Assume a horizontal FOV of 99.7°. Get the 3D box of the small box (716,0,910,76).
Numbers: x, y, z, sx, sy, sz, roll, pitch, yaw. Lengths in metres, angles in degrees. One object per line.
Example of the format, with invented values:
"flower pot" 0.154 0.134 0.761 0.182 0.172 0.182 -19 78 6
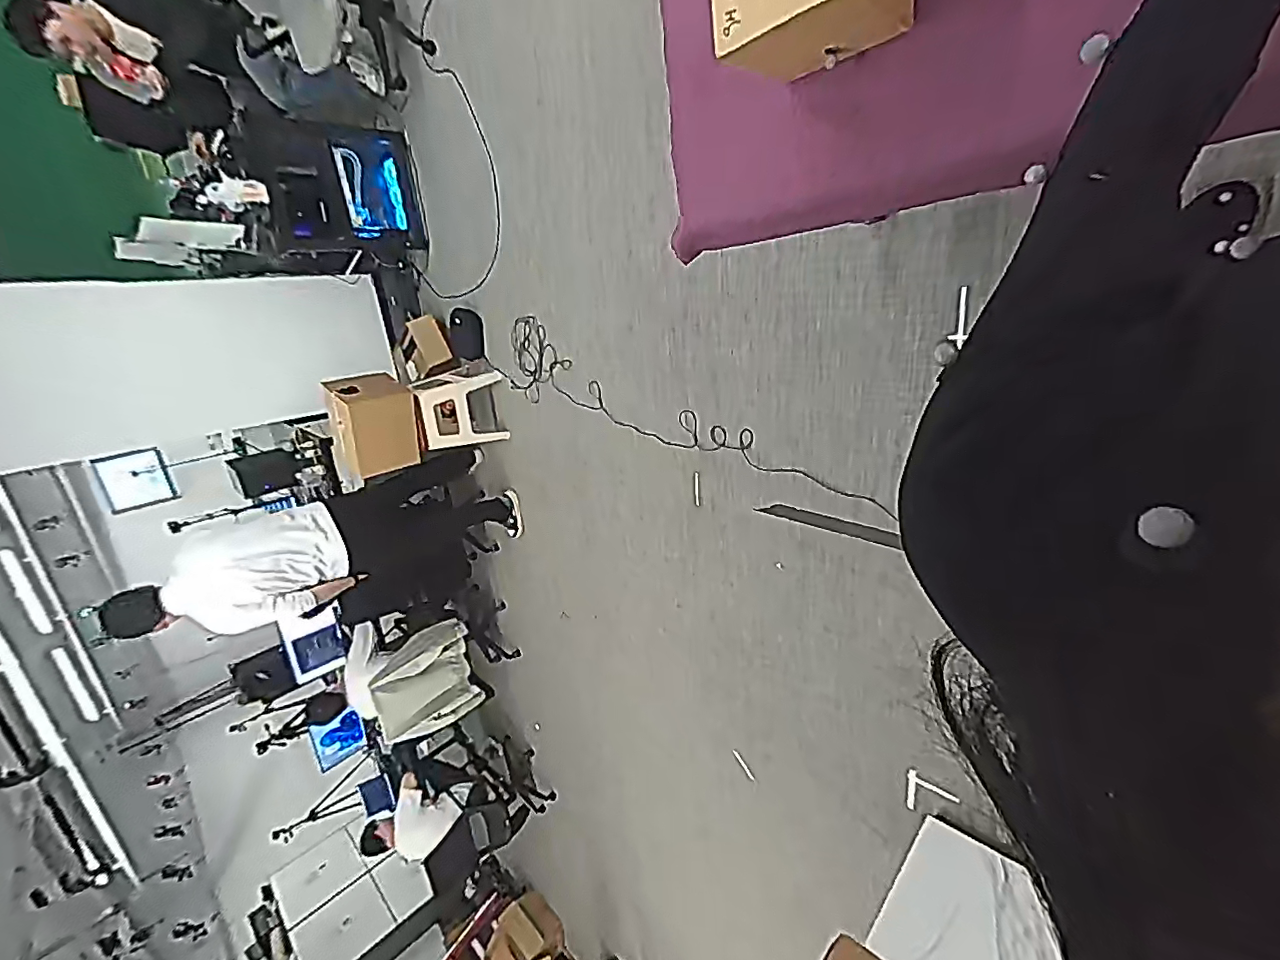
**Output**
"small box" 0.204 -0.607 0.626 0.179 0.176 0.168 9 114 44
